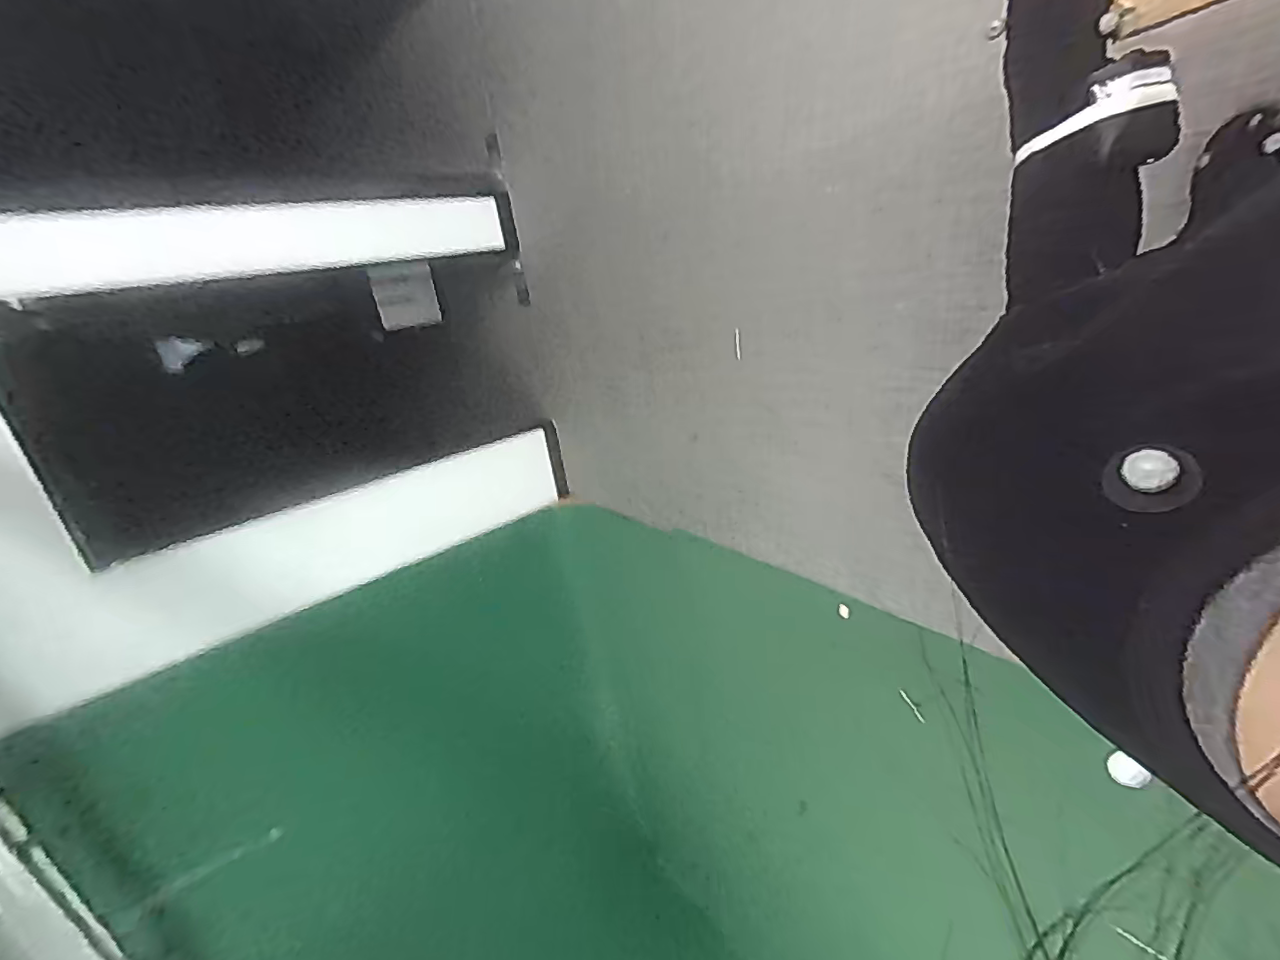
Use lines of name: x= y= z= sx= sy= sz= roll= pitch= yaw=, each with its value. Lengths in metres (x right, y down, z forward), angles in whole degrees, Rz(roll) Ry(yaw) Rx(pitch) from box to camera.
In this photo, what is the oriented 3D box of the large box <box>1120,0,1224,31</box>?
large box: x=0.526 y=-0.518 z=0.282 sx=0.408 sy=0.320 sz=0.320 roll=2 pitch=122 yaw=41
